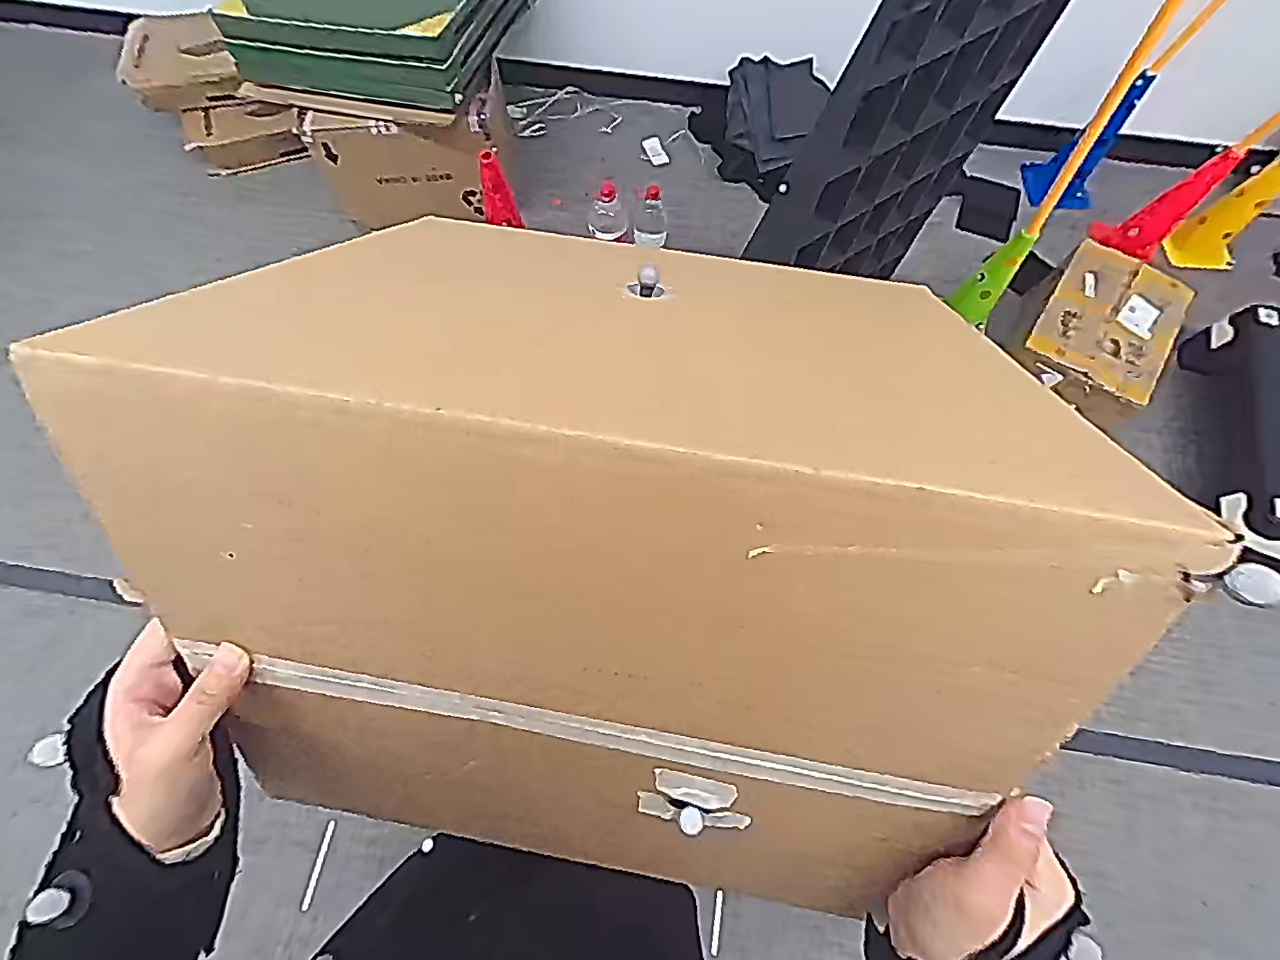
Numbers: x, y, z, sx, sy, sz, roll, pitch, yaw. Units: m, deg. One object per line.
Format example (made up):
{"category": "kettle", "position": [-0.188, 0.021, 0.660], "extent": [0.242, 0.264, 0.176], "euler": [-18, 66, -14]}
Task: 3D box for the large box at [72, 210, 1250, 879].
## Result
{"category": "large box", "position": [-0.003, 0.009, 0.383], "extent": [0.408, 0.320, 0.320], "euler": [8, 35, 3]}
